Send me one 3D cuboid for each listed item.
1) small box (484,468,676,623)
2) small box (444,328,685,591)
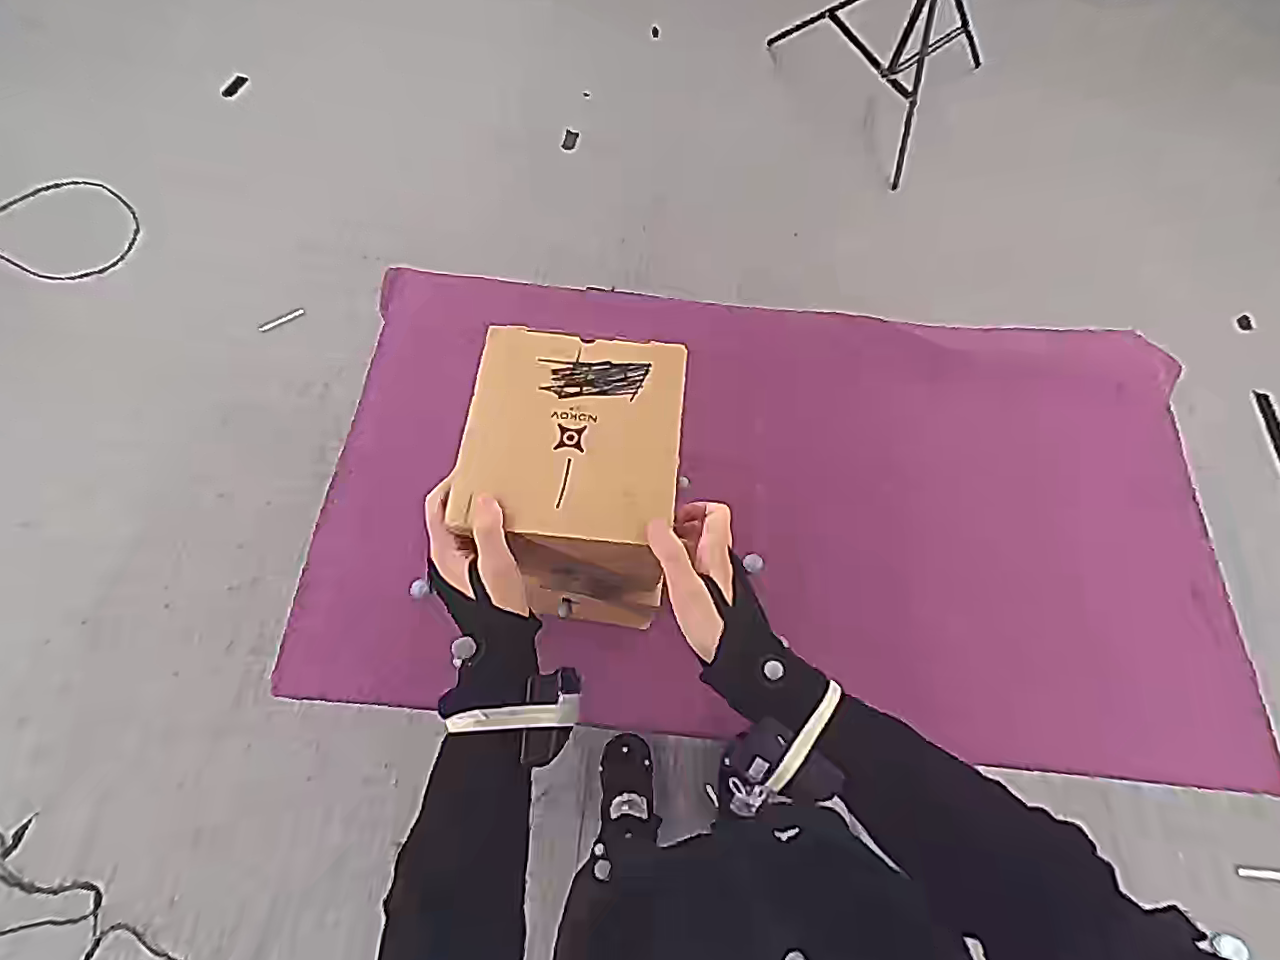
[{"bbox_3d":[-0.062,0.068,0.637,0.179,0.176,0.168,9,68,1],"label":"small box"},{"bbox_3d":[-0.056,-0.008,0.491,0.168,0.176,0.179,6,68,0],"label":"small box"}]
